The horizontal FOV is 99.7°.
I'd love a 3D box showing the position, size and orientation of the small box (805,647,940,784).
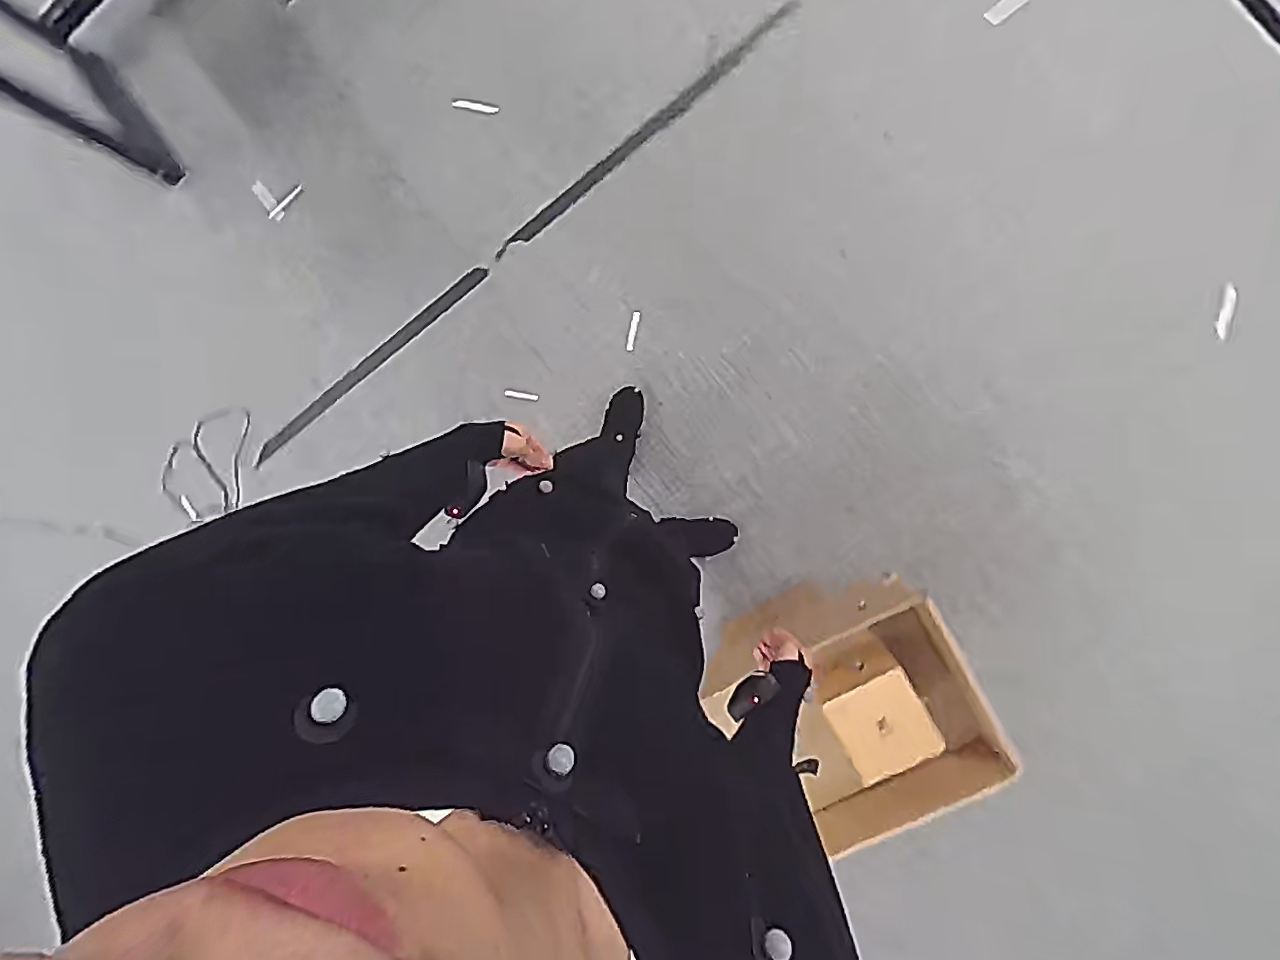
[{"bbox_3d":[0.456,0.460,1.094,0.168,0.176,0.179,-29,89,7],"label":"small box"}]
